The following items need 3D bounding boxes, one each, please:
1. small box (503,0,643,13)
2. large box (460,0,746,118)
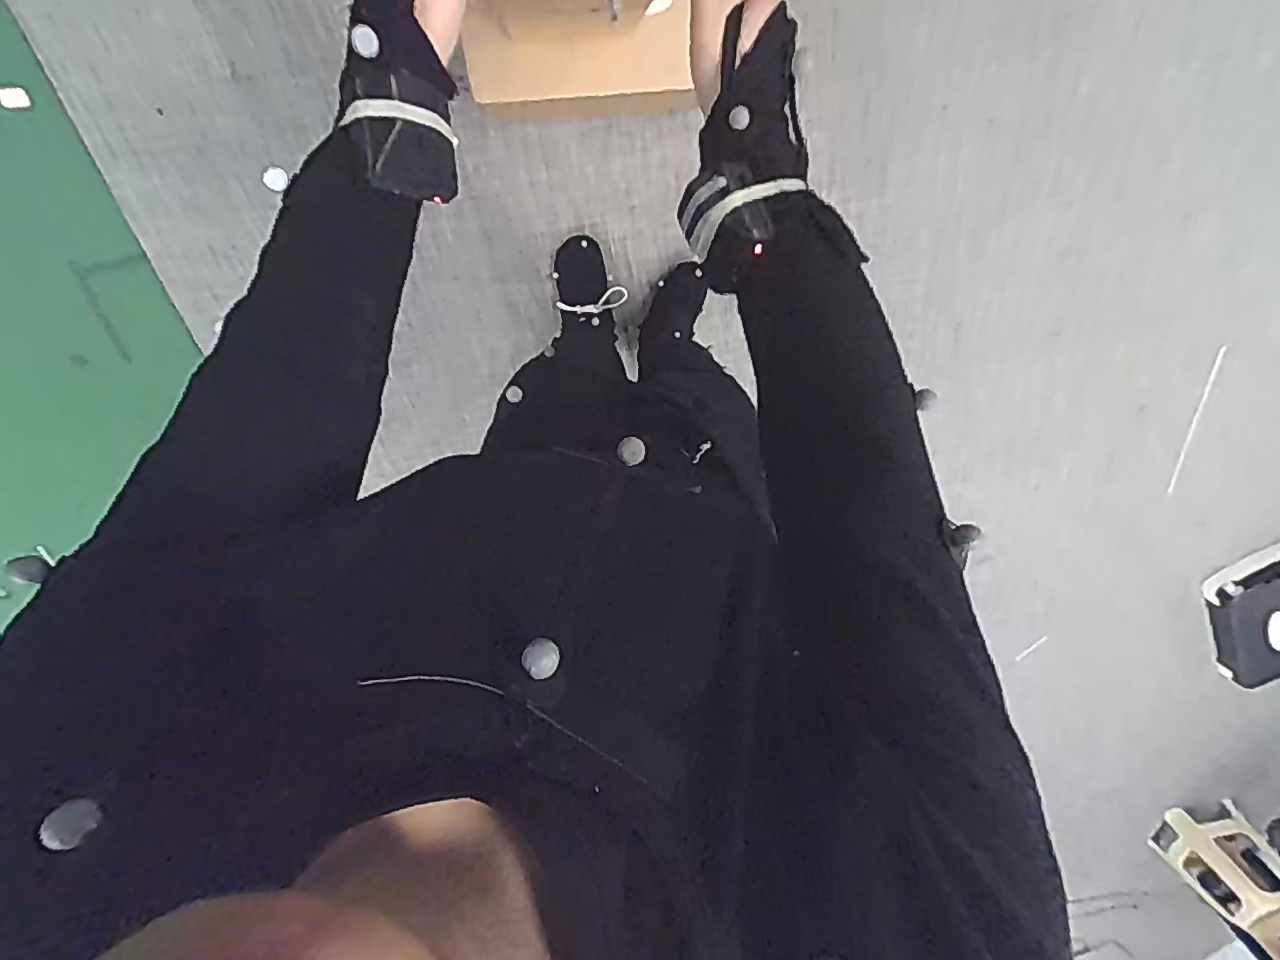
[{"bbox_3d":[-0.068,-0.562,0.499,0.168,0.176,0.179,-9,120,-4],"label":"small box"},{"bbox_3d":[-0.072,-0.780,0.845,0.408,0.320,0.320,-8,121,-4],"label":"large box"}]
